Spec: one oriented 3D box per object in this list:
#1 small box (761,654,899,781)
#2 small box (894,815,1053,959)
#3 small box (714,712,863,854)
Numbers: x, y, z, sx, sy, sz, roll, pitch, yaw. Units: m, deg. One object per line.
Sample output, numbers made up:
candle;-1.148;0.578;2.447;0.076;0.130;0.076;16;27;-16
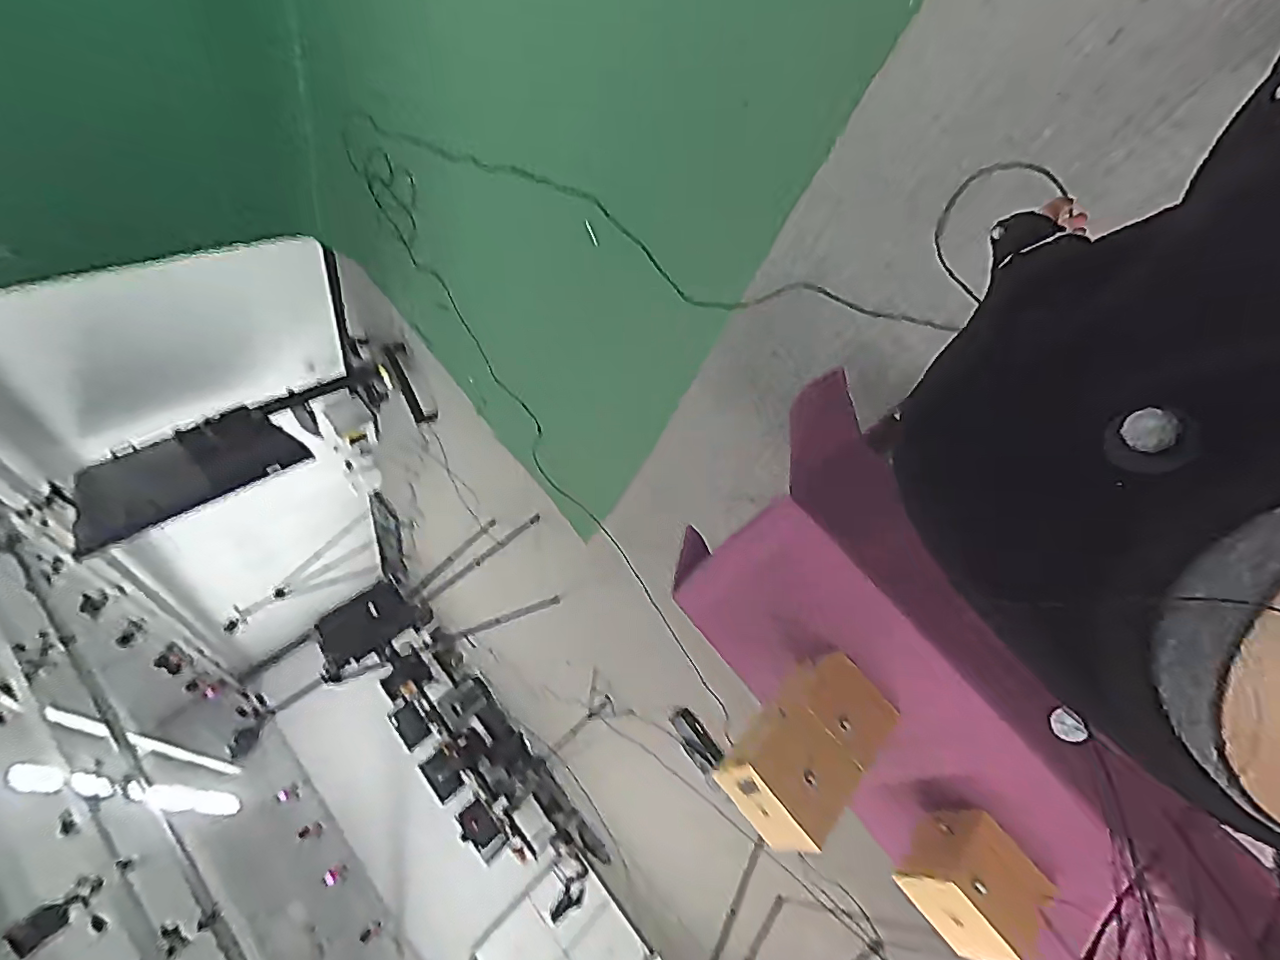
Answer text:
small box;0.397;0.496;1.124;0.179;0.176;0.168;50;144;12
small box;0.646;0.788;1.046;0.179;0.176;0.168;49;145;14
small box;0.282;0.569;1.032;0.179;0.176;0.168;48;144;12
